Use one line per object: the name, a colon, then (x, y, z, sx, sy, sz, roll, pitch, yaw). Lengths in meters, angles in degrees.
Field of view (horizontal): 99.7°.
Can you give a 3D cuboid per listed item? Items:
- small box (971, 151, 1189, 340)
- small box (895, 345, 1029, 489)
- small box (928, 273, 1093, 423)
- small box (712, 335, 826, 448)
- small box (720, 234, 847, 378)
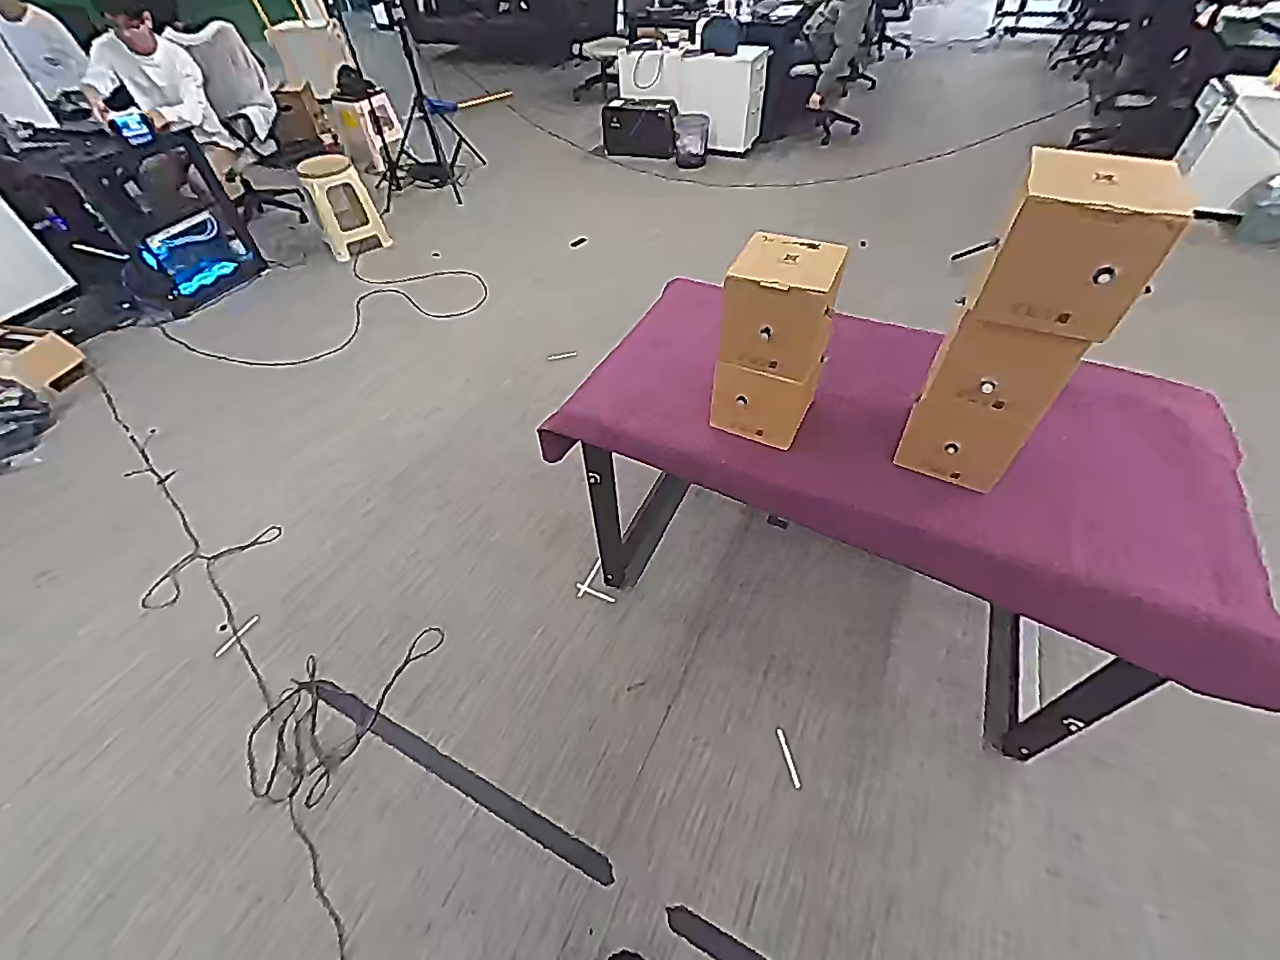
small box: (0.571, -0.314, 0.728, 0.168, 0.176, 0.179, 19, 52, 18)
small box: (0.586, -0.112, 0.984, 0.168, 0.176, 0.179, 22, 53, 20)
small box: (0.585, -0.223, 0.863, 0.168, 0.176, 0.179, 21, 53, 20)
small box: (0.250, -0.190, 1.070, 0.168, 0.176, 0.179, 20, 51, 19)
small box: (0.246, -0.305, 0.952, 0.168, 0.176, 0.179, 18, 51, 17)
